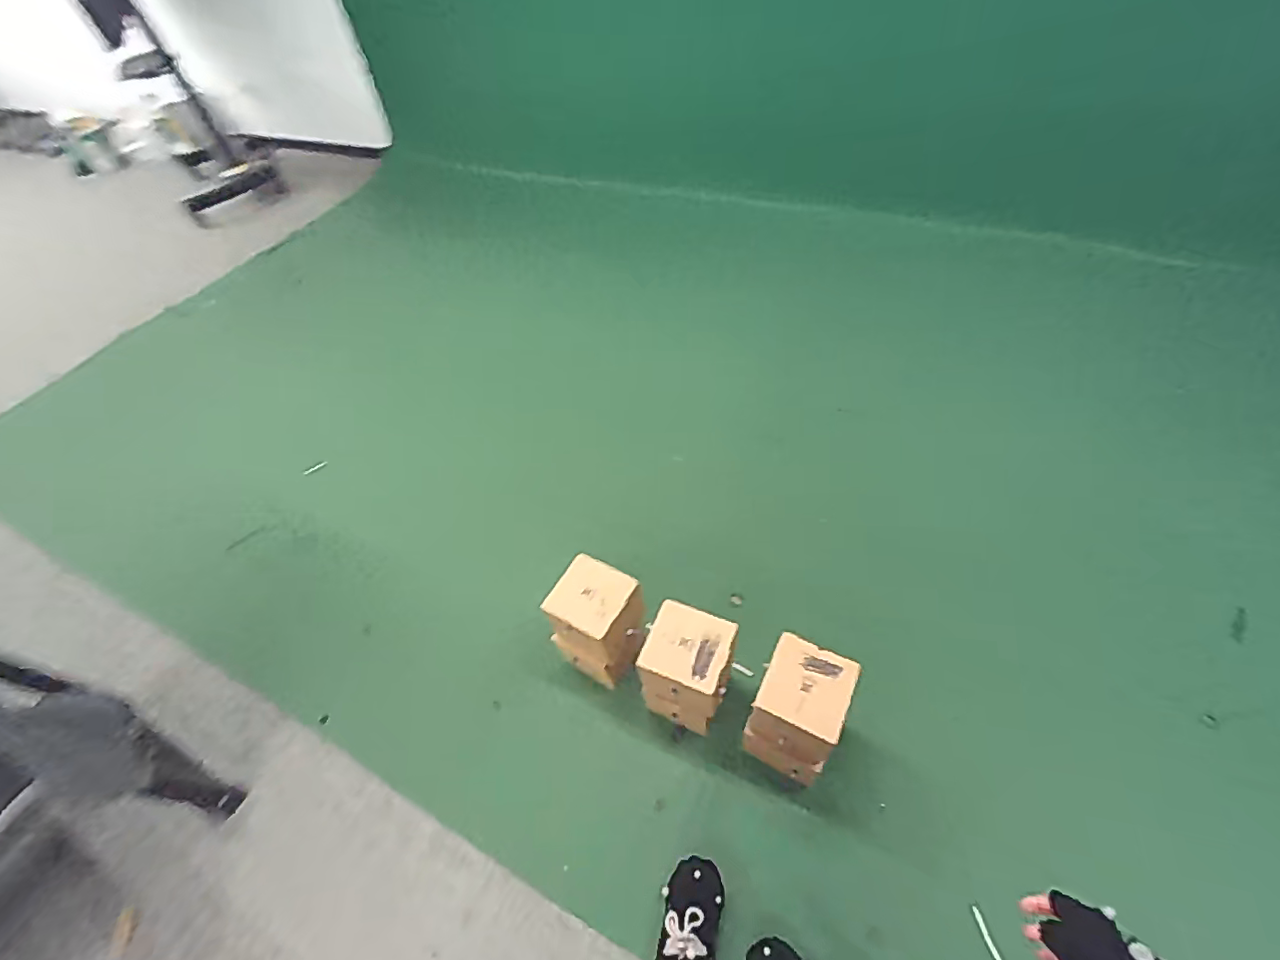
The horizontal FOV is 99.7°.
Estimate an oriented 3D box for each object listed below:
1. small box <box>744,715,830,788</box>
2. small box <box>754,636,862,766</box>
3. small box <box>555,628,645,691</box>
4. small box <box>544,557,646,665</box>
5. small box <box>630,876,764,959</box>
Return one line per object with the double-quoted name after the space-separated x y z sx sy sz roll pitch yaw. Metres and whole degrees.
0.356 0.592 1.266 0.179 0.176 0.168 22 57 24 "small box"
0.350 0.472 1.152 0.168 0.176 0.179 21 57 22 "small box"
-0.098 0.435 1.457 0.168 0.176 0.179 23 57 25 "small box"
-0.104 0.327 1.332 0.179 0.176 0.168 22 57 24 "small box"
0.104 0.909 1.048 0.168 0.176 0.179 -47 43 -6 "small box"
